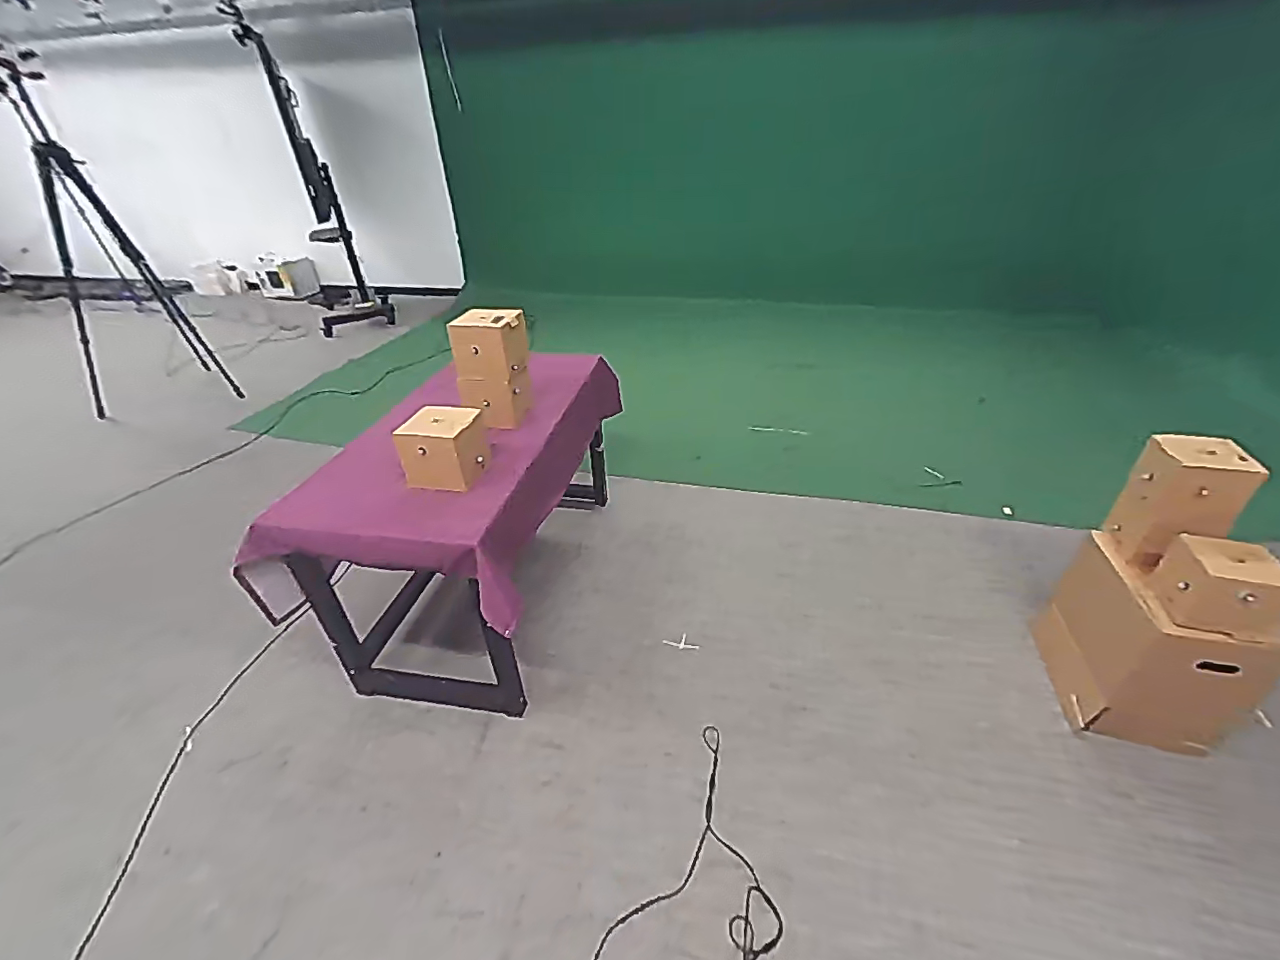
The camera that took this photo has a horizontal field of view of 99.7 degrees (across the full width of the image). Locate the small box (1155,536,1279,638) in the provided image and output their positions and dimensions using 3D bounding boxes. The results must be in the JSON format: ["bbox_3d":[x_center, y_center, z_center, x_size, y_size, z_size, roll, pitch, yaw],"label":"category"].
[{"bbox_3d":[1.426,0.264,1.330,0.179,0.176,0.168,8,34,15],"label":"small box"}]

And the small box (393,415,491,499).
[{"bbox_3d":[-0.530,-0.063,1.473,0.179,0.176,0.168,5,34,11],"label":"small box"}]

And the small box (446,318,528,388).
[{"bbox_3d":[-0.465,-0.393,1.677,0.179,0.176,0.168,4,33,13],"label":"small box"}]

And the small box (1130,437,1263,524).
[{"bbox_3d":[1.456,0.001,1.437,0.179,0.176,0.168,5,35,15],"label":"small box"}]

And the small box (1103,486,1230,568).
[{"bbox_3d":[1.470,0.138,1.526,0.179,0.176,0.168,5,35,14],"label":"small box"}]
